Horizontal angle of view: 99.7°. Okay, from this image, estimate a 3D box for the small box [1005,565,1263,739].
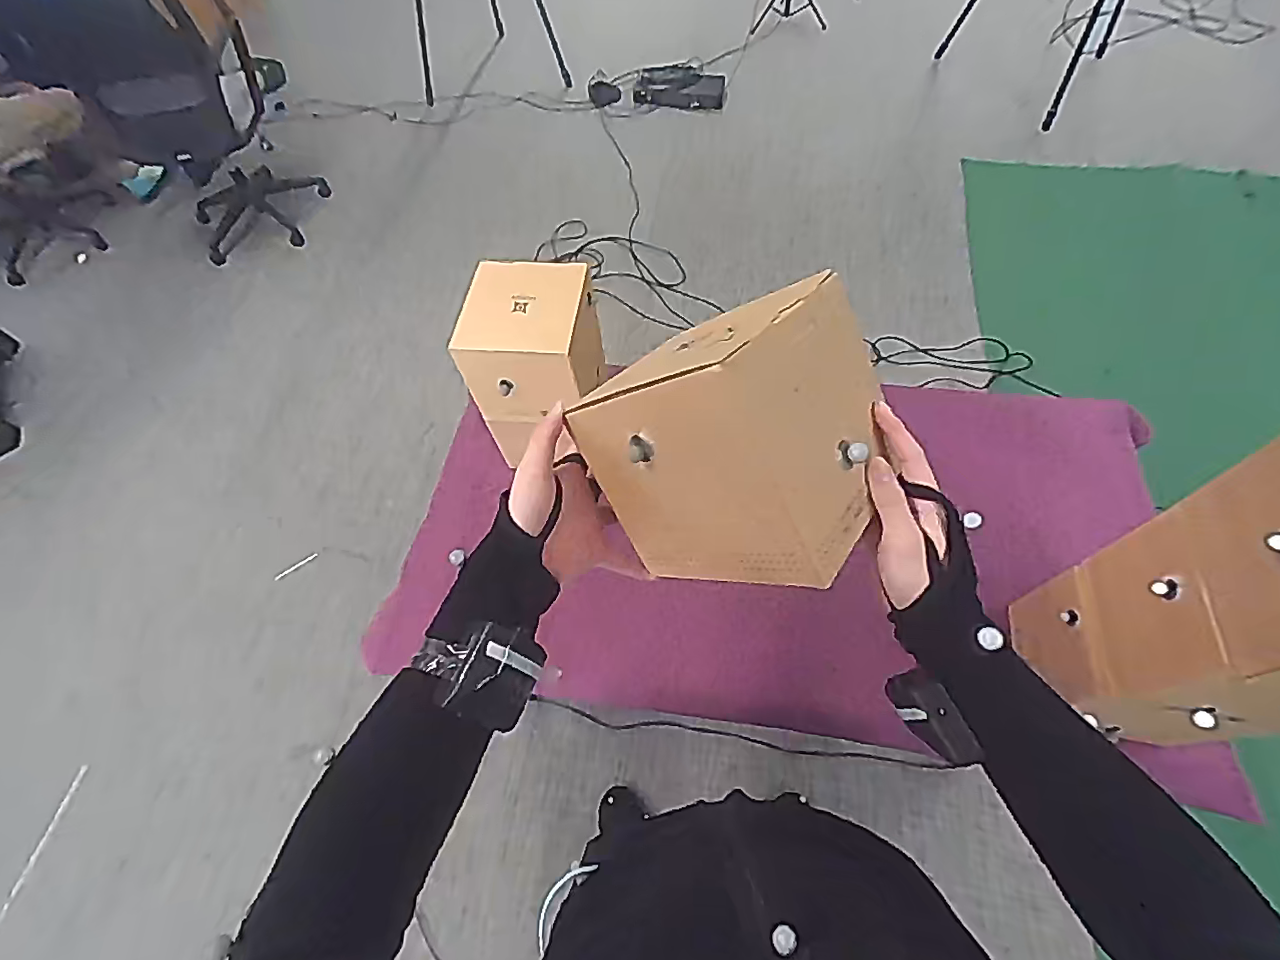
[{"bbox_3d":[0.621,0.232,0.709,0.179,0.176,0.168,10,61,9],"label":"small box"}]

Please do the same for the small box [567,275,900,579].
[{"bbox_3d":[0.080,-0.035,0.443,0.179,0.176,0.168,-8,27,48],"label":"small box"}]

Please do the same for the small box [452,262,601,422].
[{"bbox_3d":[-0.157,-0.203,0.819,0.168,0.176,0.179,3,61,6],"label":"small box"}]

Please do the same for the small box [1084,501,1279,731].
[{"bbox_3d":[0.614,0.147,0.570,0.168,0.176,0.179,9,61,11],"label":"small box"}]

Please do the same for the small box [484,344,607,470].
[{"bbox_3d":[-0.152,-0.129,0.963,0.179,0.176,0.168,3,61,6],"label":"small box"}]
